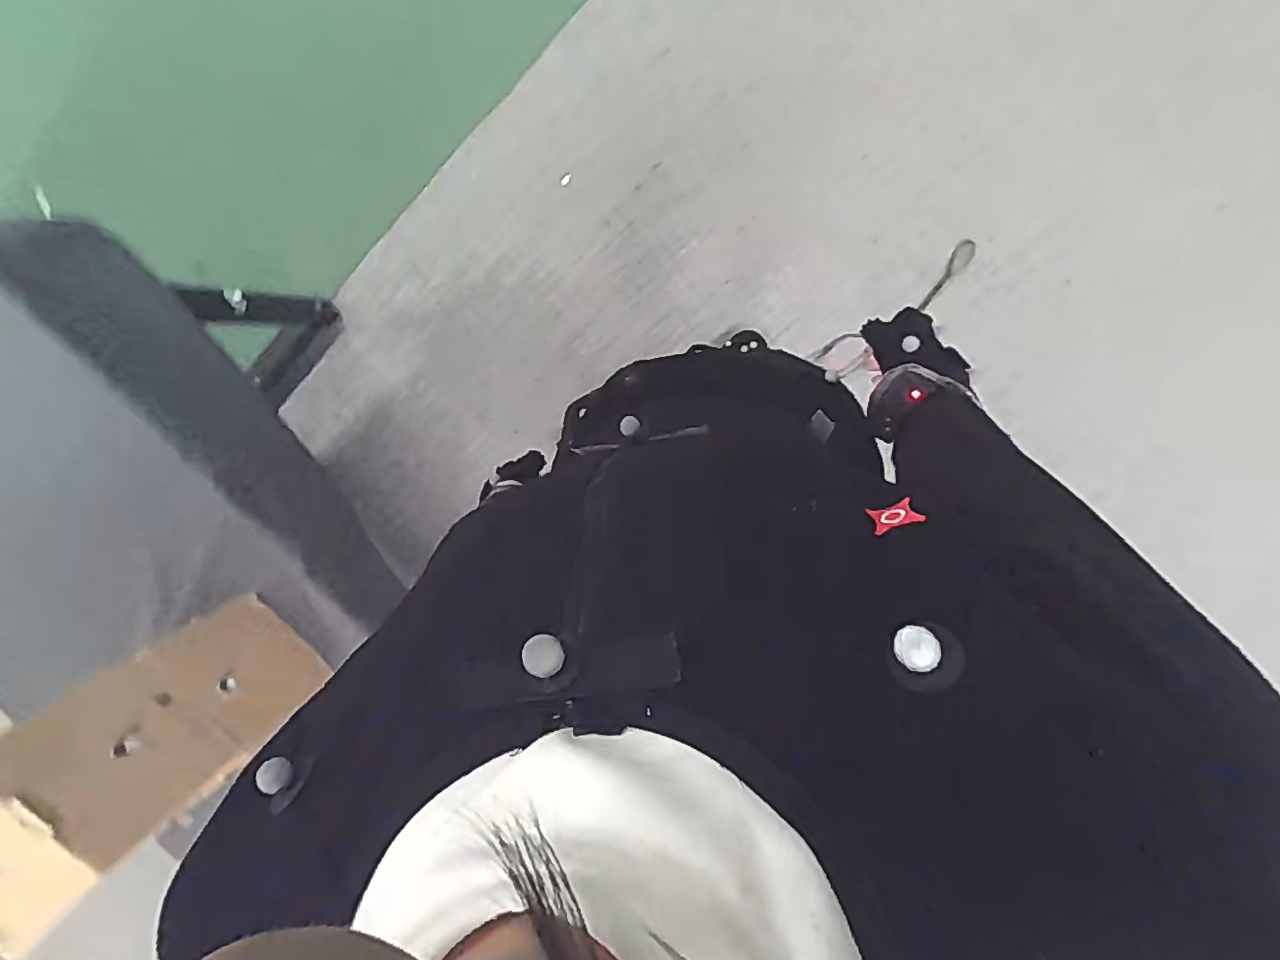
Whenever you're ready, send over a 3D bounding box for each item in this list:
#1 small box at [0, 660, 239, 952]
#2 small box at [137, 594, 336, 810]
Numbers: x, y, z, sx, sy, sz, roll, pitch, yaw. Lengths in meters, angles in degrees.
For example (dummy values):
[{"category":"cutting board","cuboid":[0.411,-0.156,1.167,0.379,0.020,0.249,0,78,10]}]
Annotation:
[{"category":"small box","cuboid":[-0.586,0.331,0.579,0.179,0.176,0.168,-42,97,13]},{"category":"small box","cuboid":[-0.565,0.289,0.736,0.168,0.176,0.179,-41,96,13]}]
